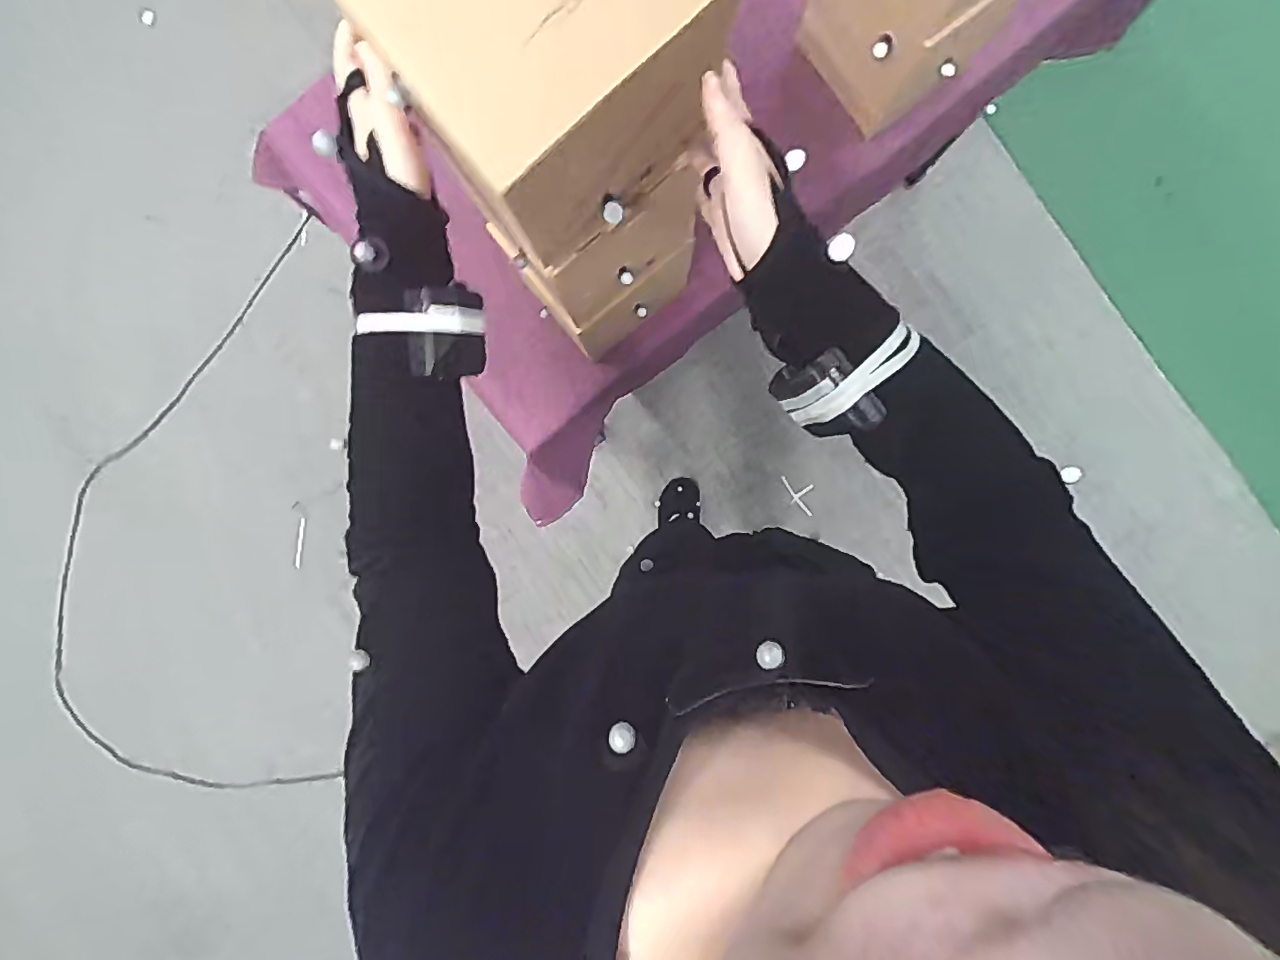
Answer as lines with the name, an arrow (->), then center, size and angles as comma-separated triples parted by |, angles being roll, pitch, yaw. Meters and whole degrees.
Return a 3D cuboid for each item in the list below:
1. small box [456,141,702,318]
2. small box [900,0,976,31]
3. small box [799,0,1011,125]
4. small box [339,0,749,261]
small box -> -0.064, -0.289, 0.525 | 0.168, 0.176, 0.179 | -39, 91, 2
small box -> 0.330, -0.592, 0.508 | 0.179, 0.176, 0.168 | -35, 91, 1
small box -> 0.329, -0.589, 0.673 | 0.168, 0.176, 0.179 | -36, 90, 1
small box -> -0.063, -0.269, 0.334 | 0.168, 0.176, 0.179 | -39, 99, 4
